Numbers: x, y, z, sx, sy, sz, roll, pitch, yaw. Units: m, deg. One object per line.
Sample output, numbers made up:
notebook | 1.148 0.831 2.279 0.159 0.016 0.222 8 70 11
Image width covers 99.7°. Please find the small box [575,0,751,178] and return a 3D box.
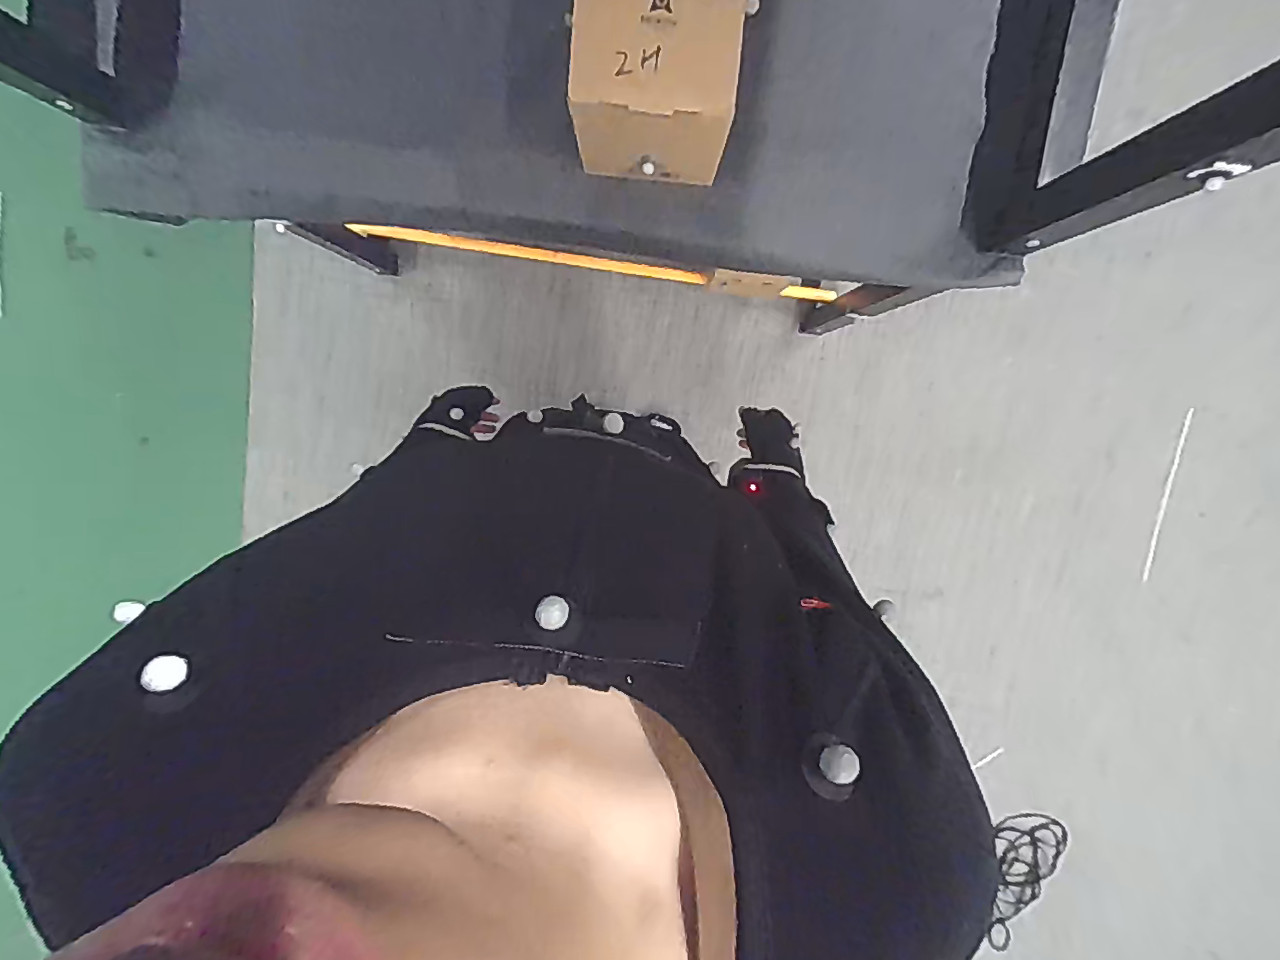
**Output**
small box | 0.024 -0.468 0.597 0.168 0.176 0.179 5 98 -1
